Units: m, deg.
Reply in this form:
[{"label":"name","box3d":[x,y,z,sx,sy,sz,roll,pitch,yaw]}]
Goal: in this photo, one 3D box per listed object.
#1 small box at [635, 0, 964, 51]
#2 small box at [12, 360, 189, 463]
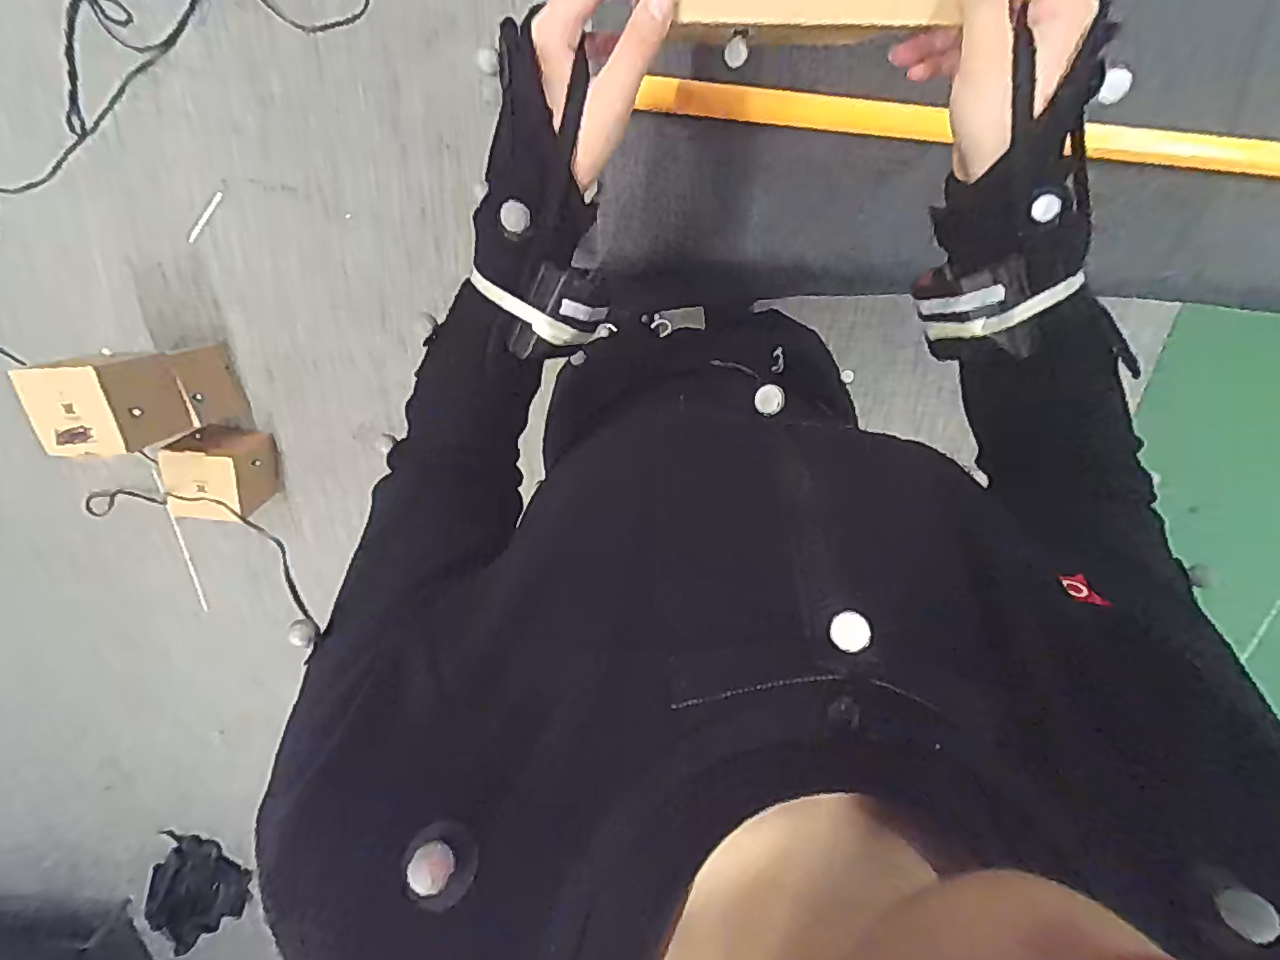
[{"label":"small box","box3d":[0.080,-0.346,0.290,0.168,0.176,0.179,-1,124,-1]},{"label":"small box","box3d":[-1.085,-0.144,1.109,0.168,0.176,0.179,-1,112,1]}]
